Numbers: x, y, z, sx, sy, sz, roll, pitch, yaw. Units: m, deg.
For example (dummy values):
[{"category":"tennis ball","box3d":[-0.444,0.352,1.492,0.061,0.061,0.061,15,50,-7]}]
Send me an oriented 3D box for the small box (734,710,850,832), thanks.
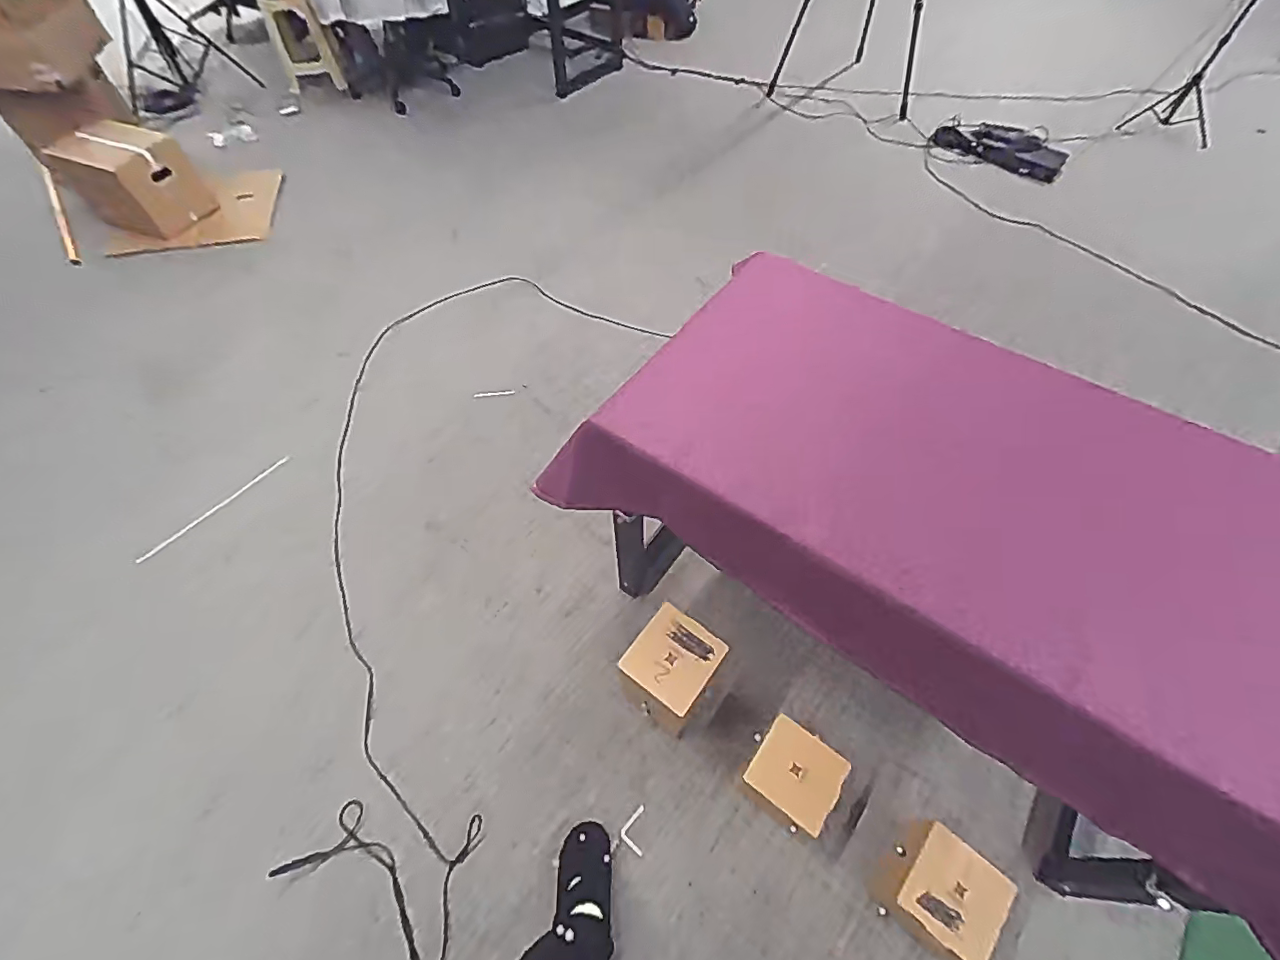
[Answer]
[{"category":"small box","box3d":[0.328,0.651,1.202,0.179,0.176,0.168,33,63,20]}]
